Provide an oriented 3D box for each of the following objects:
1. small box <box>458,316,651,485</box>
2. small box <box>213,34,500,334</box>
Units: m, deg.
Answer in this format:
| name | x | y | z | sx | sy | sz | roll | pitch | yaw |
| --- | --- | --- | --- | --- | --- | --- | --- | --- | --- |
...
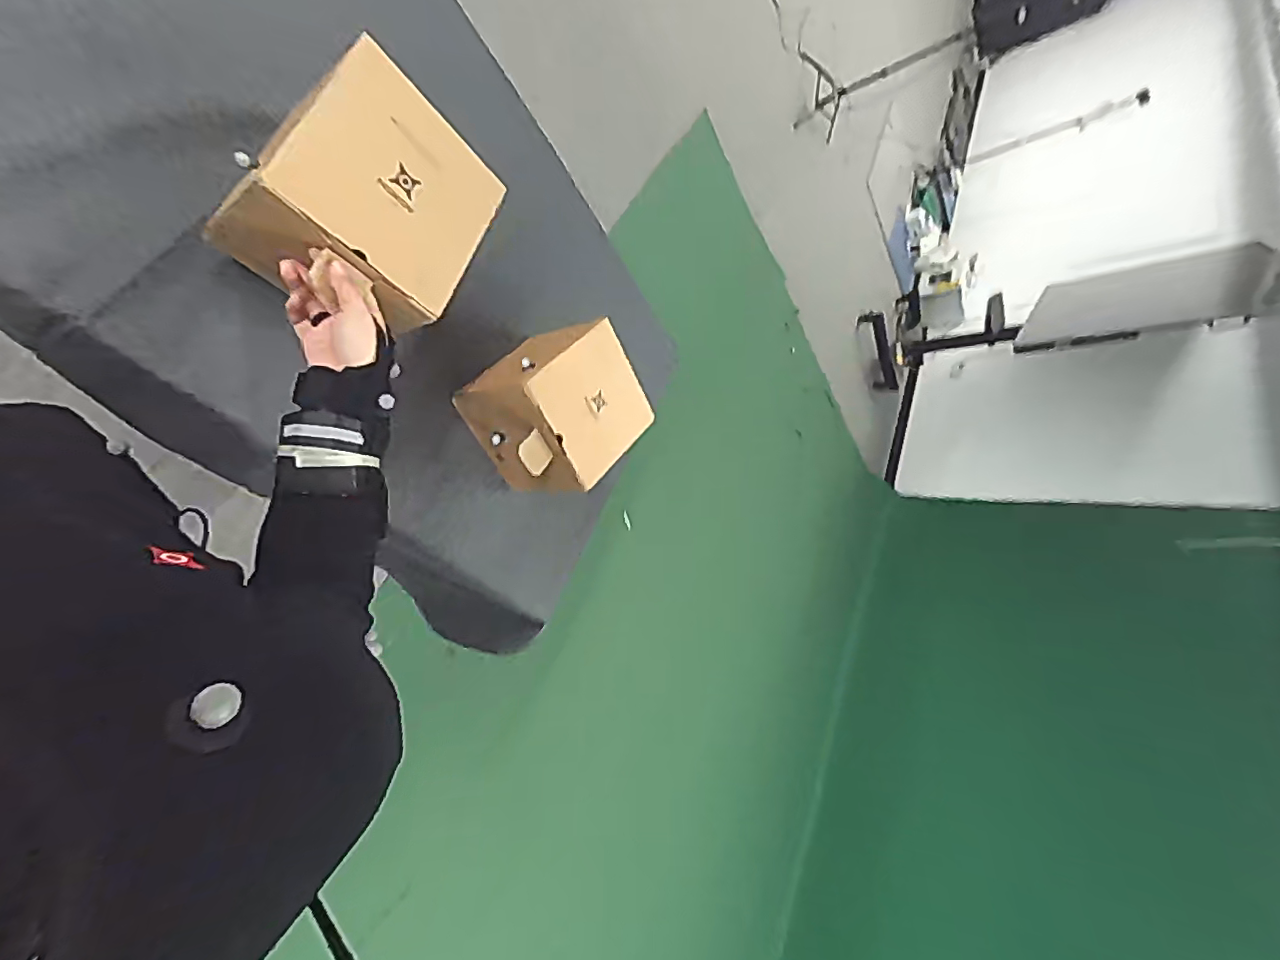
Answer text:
| name | x | y | z | sx | sy | sz | roll | pitch | yaw |
| --- | --- | --- | --- | --- | --- | --- | --- | --- | --- |
| small box | -0.120 | -0.111 | 0.770 | 0.179 | 0.176 | 0.168 | -50 | 127 | -35 |
| small box | -0.277 | -0.265 | 0.531 | 0.168 | 0.176 | 0.179 | 37 | 64 | -47 |
